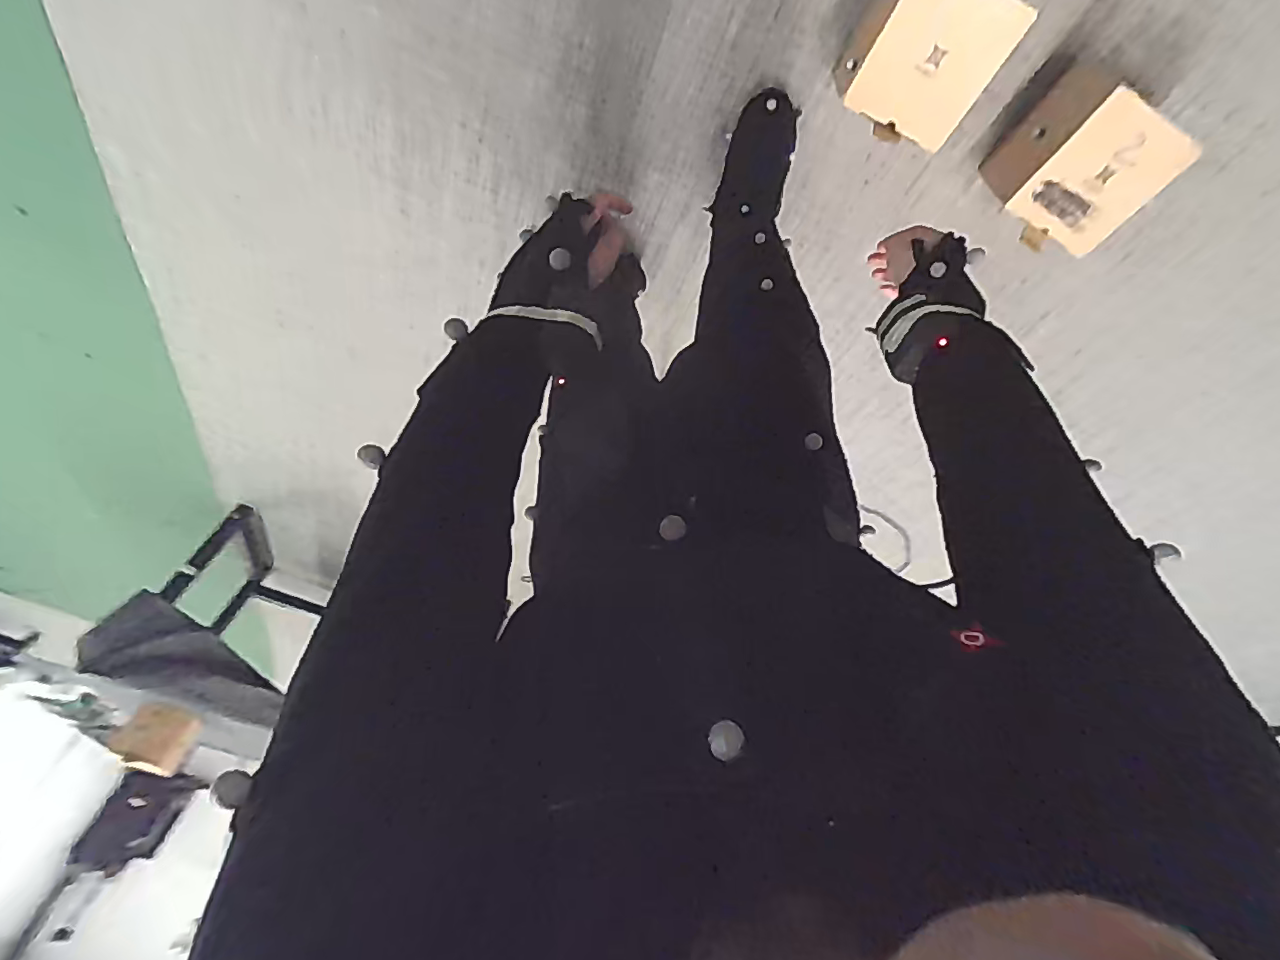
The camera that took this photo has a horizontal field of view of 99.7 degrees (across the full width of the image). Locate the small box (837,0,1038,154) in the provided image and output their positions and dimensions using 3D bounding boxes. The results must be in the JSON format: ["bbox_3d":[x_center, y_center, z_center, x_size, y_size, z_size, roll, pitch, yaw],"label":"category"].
[{"bbox_3d":[0.399,-0.612,0.764,0.168,0.176,0.179,22,137,-9],"label":"small box"}]

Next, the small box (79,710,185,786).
[{"bbox_3d":[-1.634,0.868,1.753,0.168,0.176,0.179,24,137,-10],"label":"small box"}]
